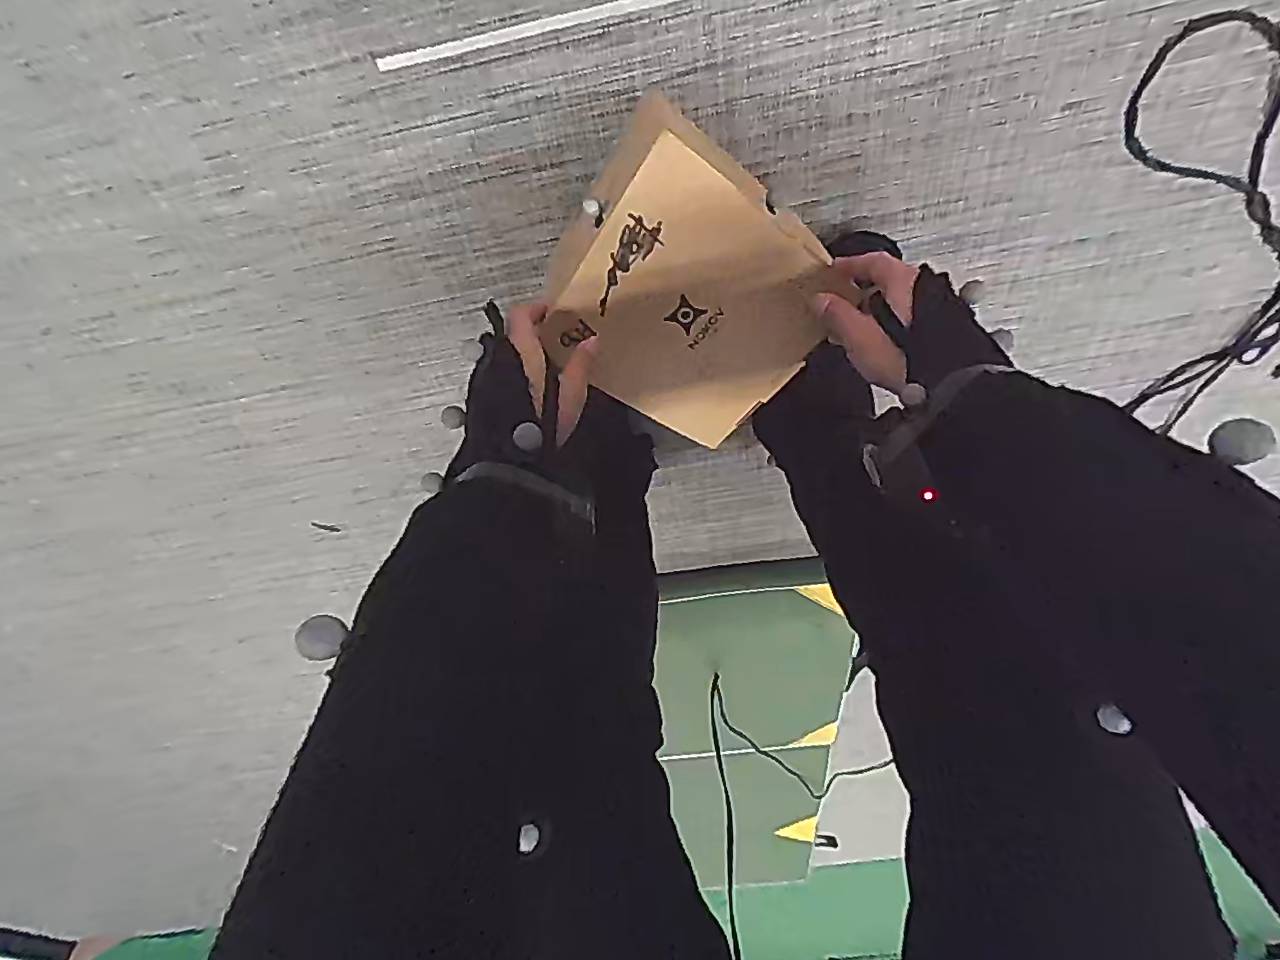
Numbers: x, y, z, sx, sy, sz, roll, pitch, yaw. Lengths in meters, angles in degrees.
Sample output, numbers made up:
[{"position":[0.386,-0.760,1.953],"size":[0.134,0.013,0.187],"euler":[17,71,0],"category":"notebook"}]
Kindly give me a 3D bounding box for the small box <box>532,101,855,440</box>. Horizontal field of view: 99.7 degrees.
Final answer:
[{"position":[0.033,-0.170,0.443],"size":[0.179,0.176,0.168],"euler":[26,126,-25],"category":"small box"}]
